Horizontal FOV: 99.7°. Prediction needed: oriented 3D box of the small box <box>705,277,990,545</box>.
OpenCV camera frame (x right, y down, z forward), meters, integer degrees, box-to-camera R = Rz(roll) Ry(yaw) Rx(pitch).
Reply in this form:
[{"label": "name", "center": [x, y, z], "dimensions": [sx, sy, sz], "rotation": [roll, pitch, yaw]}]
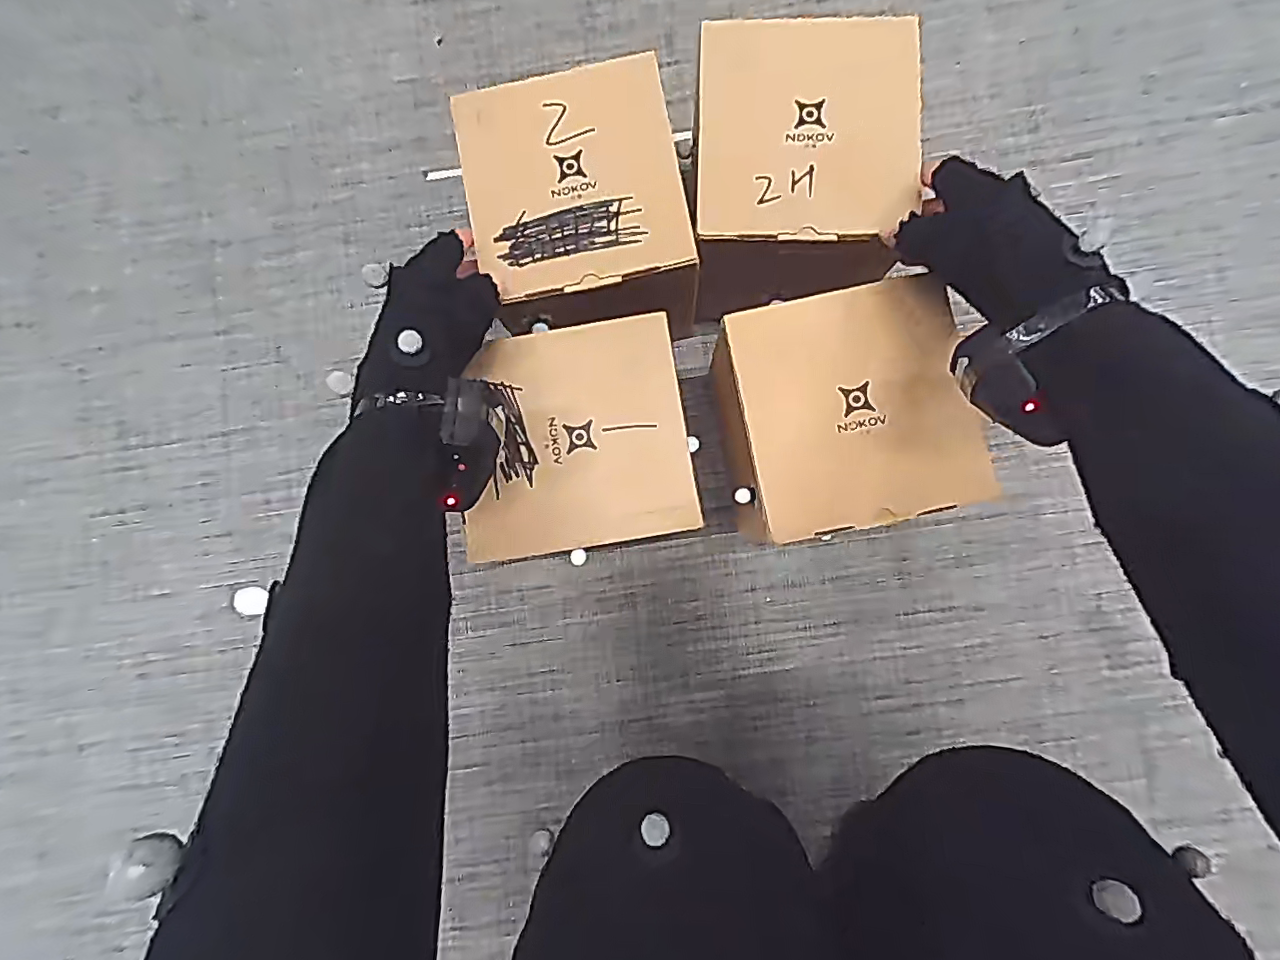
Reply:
[{"label": "small box", "center": [0.158, -0.046, 0.474], "dimensions": [0.168, 0.176, 0.179], "rotation": [-12, 86, 1]}]
